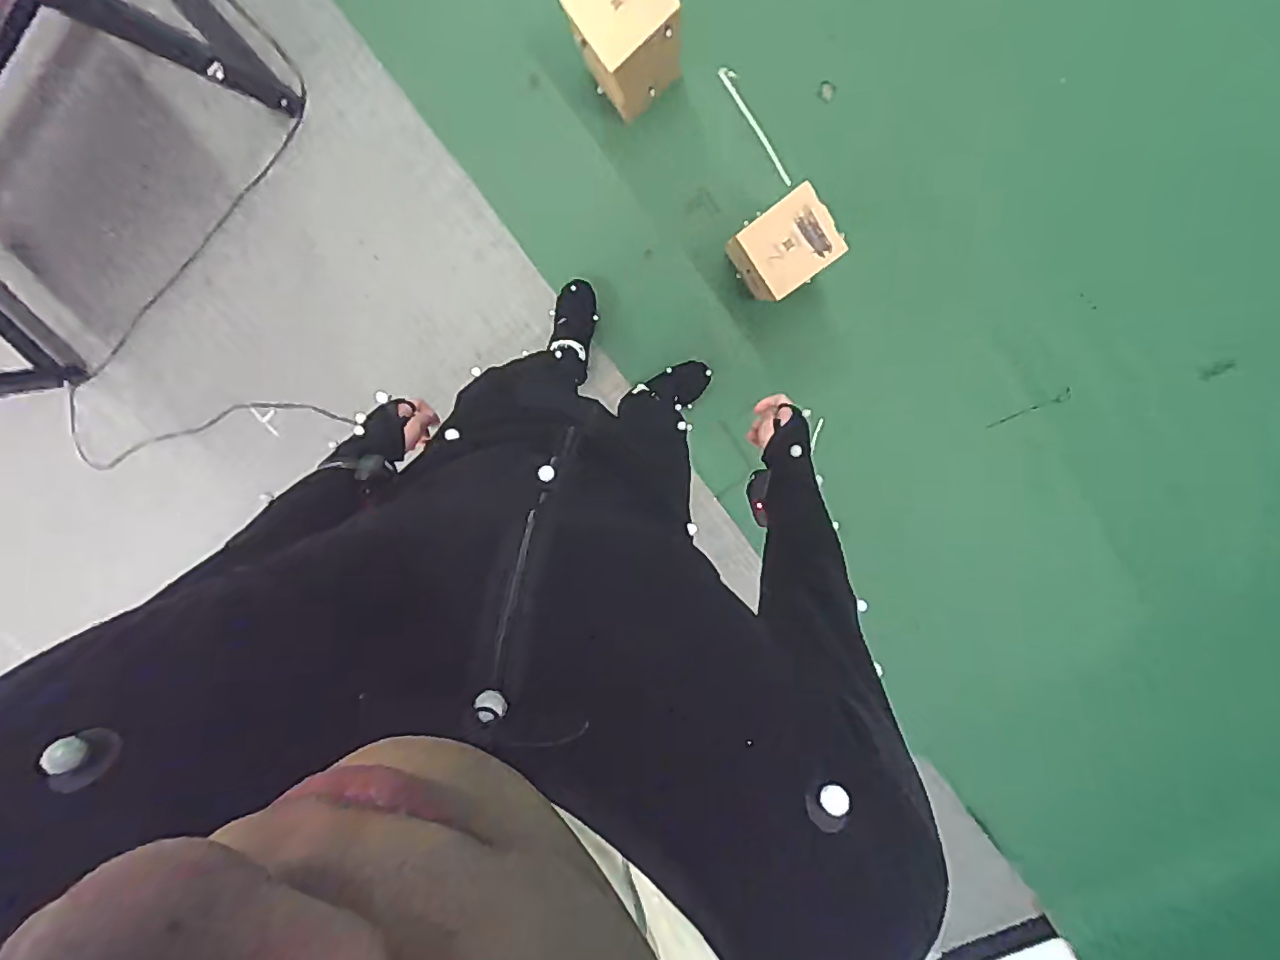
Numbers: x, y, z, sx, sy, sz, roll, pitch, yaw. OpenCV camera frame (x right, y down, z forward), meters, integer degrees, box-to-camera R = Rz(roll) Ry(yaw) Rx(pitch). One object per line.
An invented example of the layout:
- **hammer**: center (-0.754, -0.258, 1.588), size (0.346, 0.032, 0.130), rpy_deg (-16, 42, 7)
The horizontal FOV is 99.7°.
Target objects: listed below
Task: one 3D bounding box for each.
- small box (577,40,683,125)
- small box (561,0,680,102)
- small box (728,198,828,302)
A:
- **small box**: center (-0.018, -0.976, 1.254), size (0.179, 0.176, 0.168), rpy_deg (-35, 101, 15)
- **small box**: center (-0.030, -0.925, 1.102), size (0.179, 0.176, 0.168), rpy_deg (-36, 100, 14)
- **small box**: center (0.335, -0.567, 1.353), size (0.179, 0.176, 0.168), rpy_deg (-33, 102, 15)
